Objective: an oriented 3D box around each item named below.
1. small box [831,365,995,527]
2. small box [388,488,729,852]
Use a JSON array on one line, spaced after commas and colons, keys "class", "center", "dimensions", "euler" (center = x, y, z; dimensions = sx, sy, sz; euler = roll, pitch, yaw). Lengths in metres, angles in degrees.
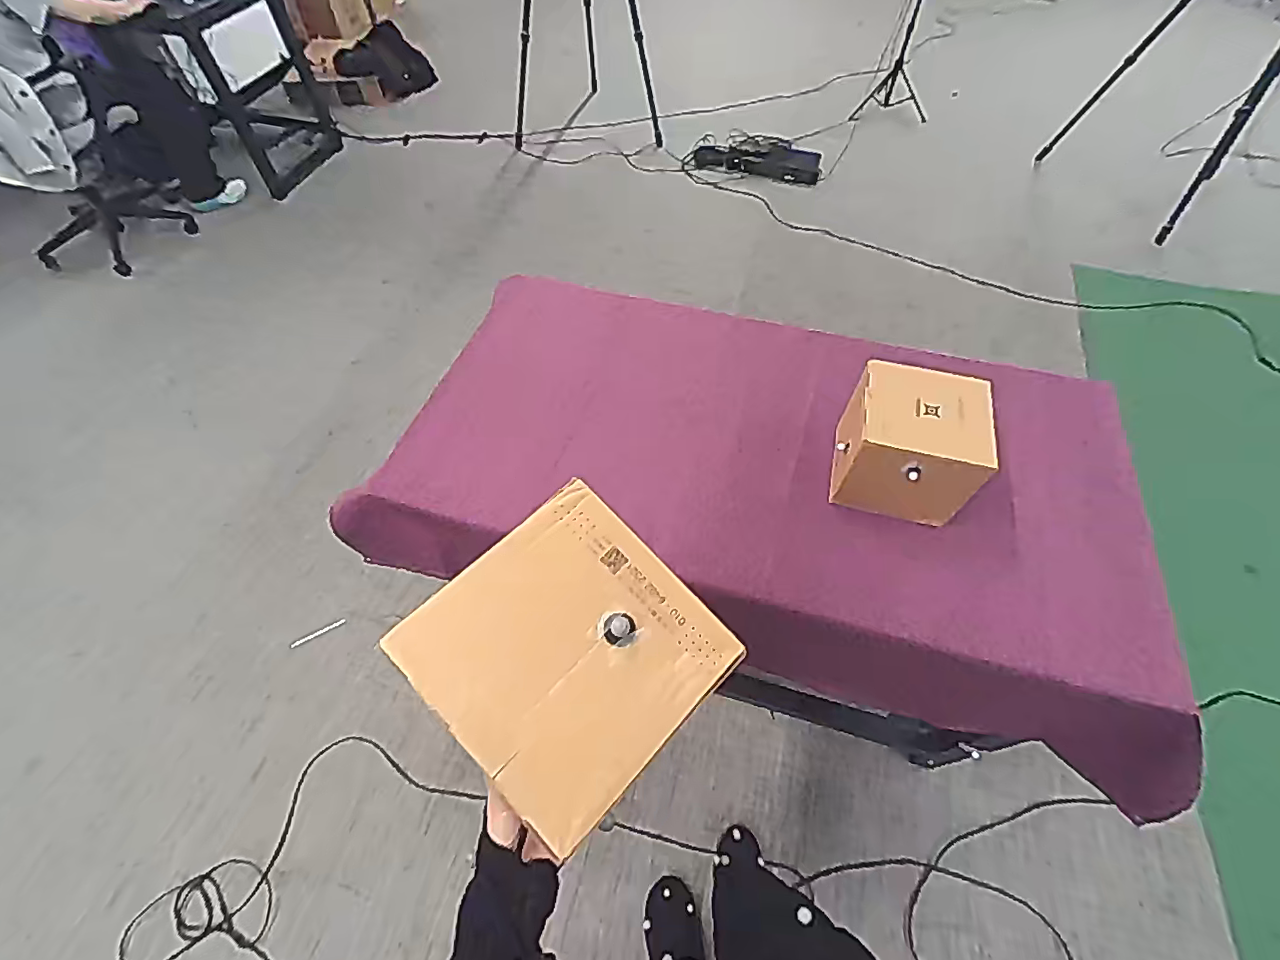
[{"class": "small box", "center": [0.407, -0.047, 0.832], "dimensions": [0.179, 0.176, 0.168], "euler": [13, 57, 9]}, {"class": "small box", "center": [-0.056, 0.138, 0.424], "dimensions": [0.168, 0.179, 0.176], "euler": [44, 65, 10]}]
